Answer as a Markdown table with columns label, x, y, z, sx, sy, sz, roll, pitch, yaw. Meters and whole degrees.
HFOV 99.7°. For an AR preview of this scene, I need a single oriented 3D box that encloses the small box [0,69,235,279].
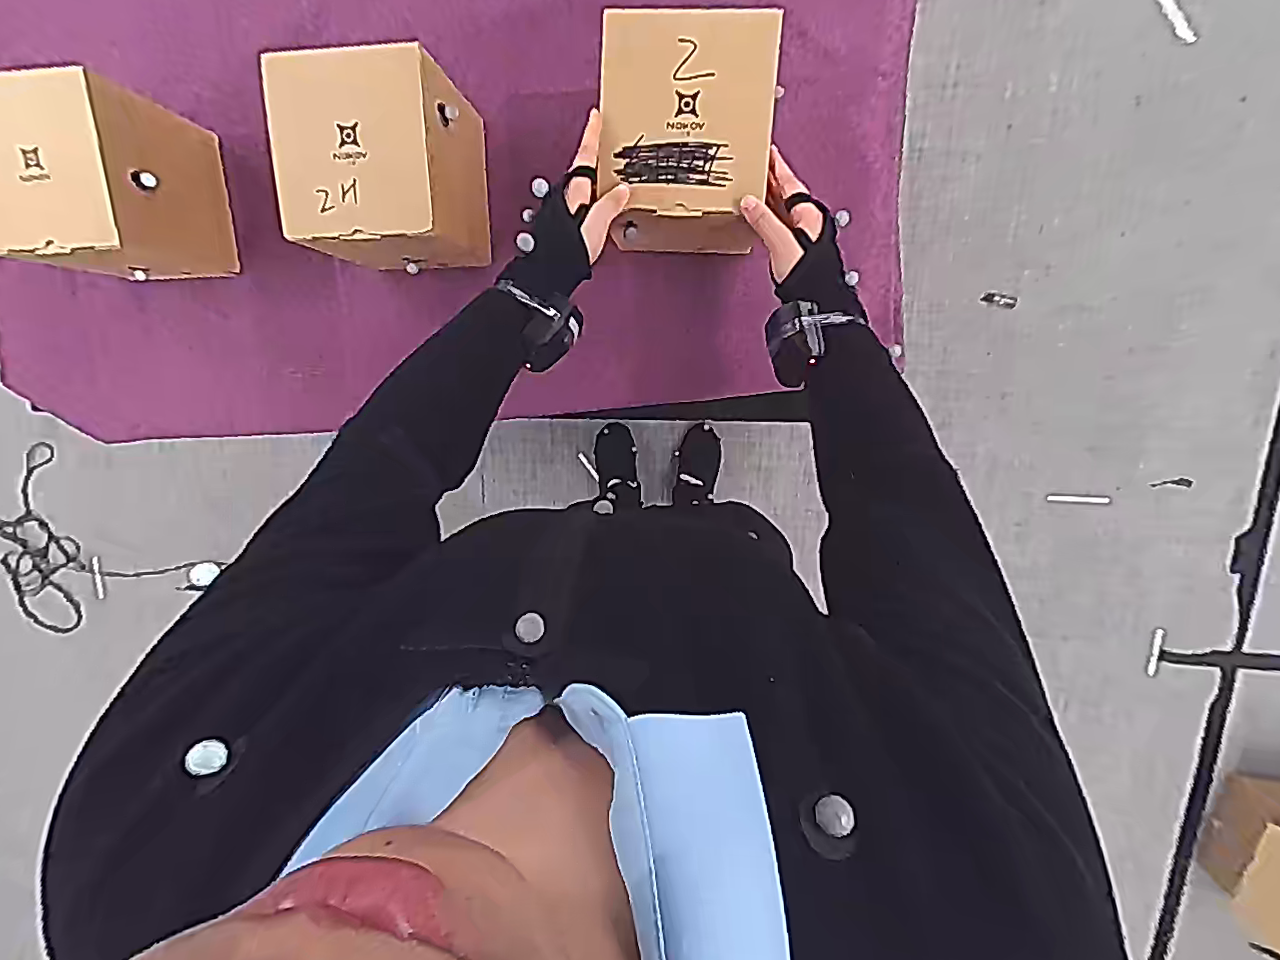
| label | x | y | z | sx | sy | sz | roll | pitch | yaw |
| --- | --- | --- | --- | --- | --- | --- | --- | --- | --- |
| small box | -0.636 | -0.349 | 0.649 | 0.168 | 0.176 | 0.179 | -1 | 102 | 4 |

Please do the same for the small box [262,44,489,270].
| label | x | y | z | sx | sy | sz | roll | pitch | yaw |
| --- | --- | --- | --- | --- | --- | --- | --- | --- | --- |
| small box | -0.284 | -0.349 | 0.618 | 0.168 | 0.176 | 0.179 | 0 | 102 | 5 |
